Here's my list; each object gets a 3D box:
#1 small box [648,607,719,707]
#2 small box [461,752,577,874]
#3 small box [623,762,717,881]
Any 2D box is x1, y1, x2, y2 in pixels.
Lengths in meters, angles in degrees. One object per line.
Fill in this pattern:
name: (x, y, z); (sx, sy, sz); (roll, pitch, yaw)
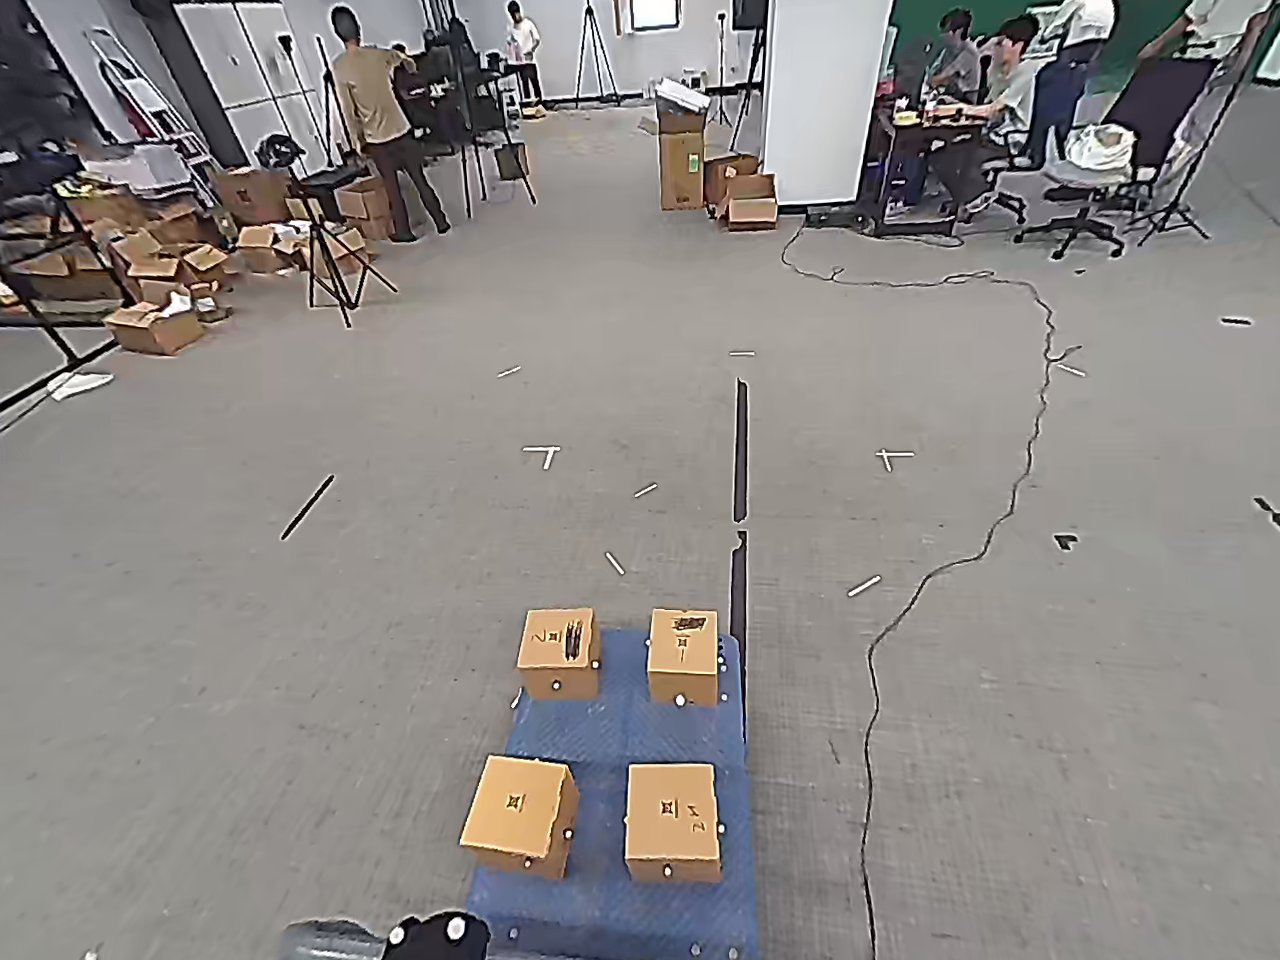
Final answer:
small box: (0.113, 0.448, 1.371); (0.168, 0.176, 0.179); (1, 43, 8)
small box: (-0.243, 0.697, 1.130); (0.179, 0.176, 0.168); (3, 42, 8)
small box: (0.065, 0.693, 1.097); (0.179, 0.176, 0.168); (-2, 41, 5)
